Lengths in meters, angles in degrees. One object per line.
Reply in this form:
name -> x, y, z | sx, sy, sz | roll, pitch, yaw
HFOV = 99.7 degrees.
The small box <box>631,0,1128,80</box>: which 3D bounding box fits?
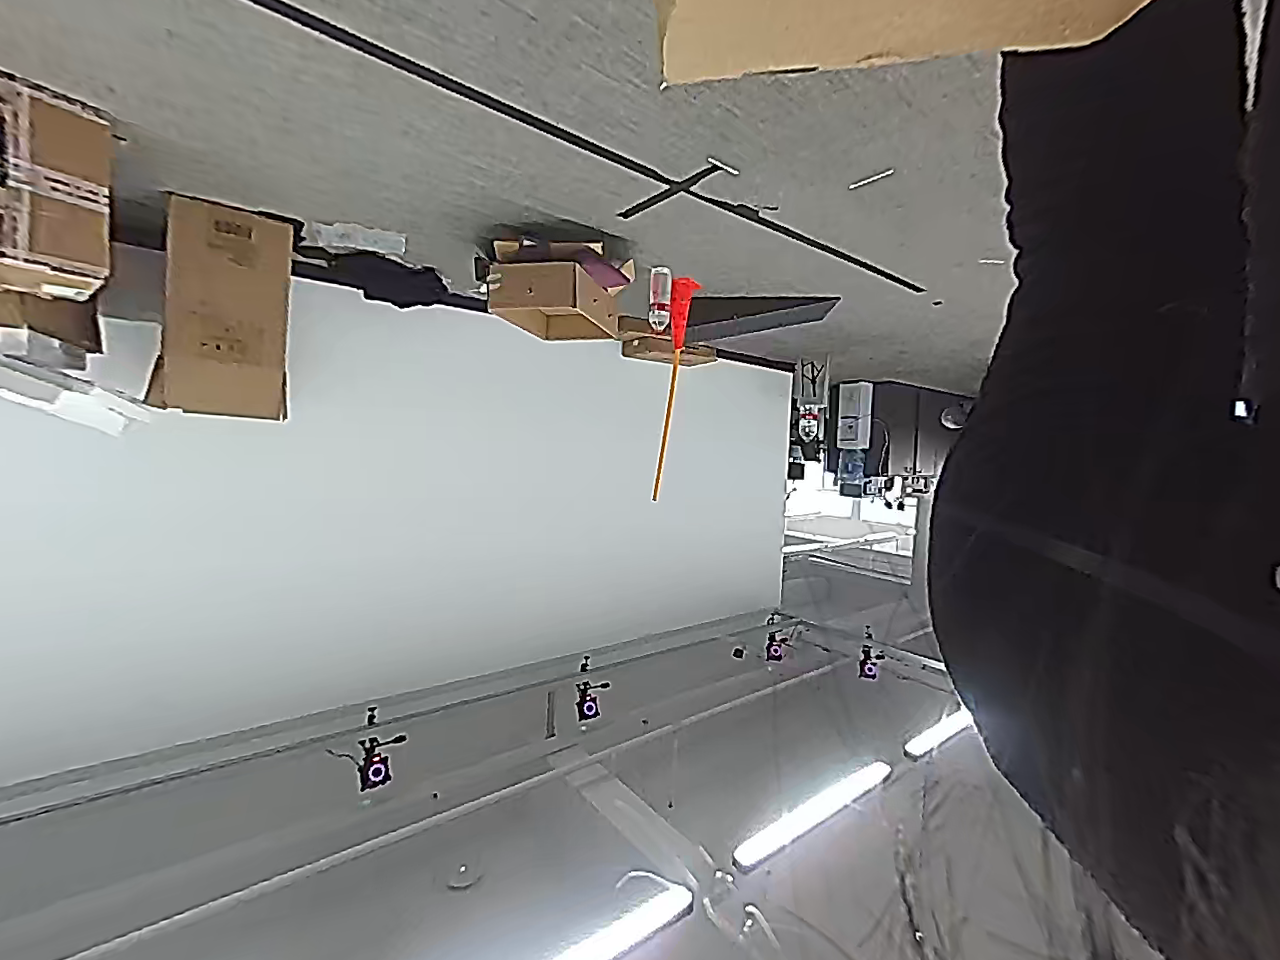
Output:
small box -> 0.073, -0.229, 0.108 | 0.168, 0.176, 0.179 | -5, -176, 2
